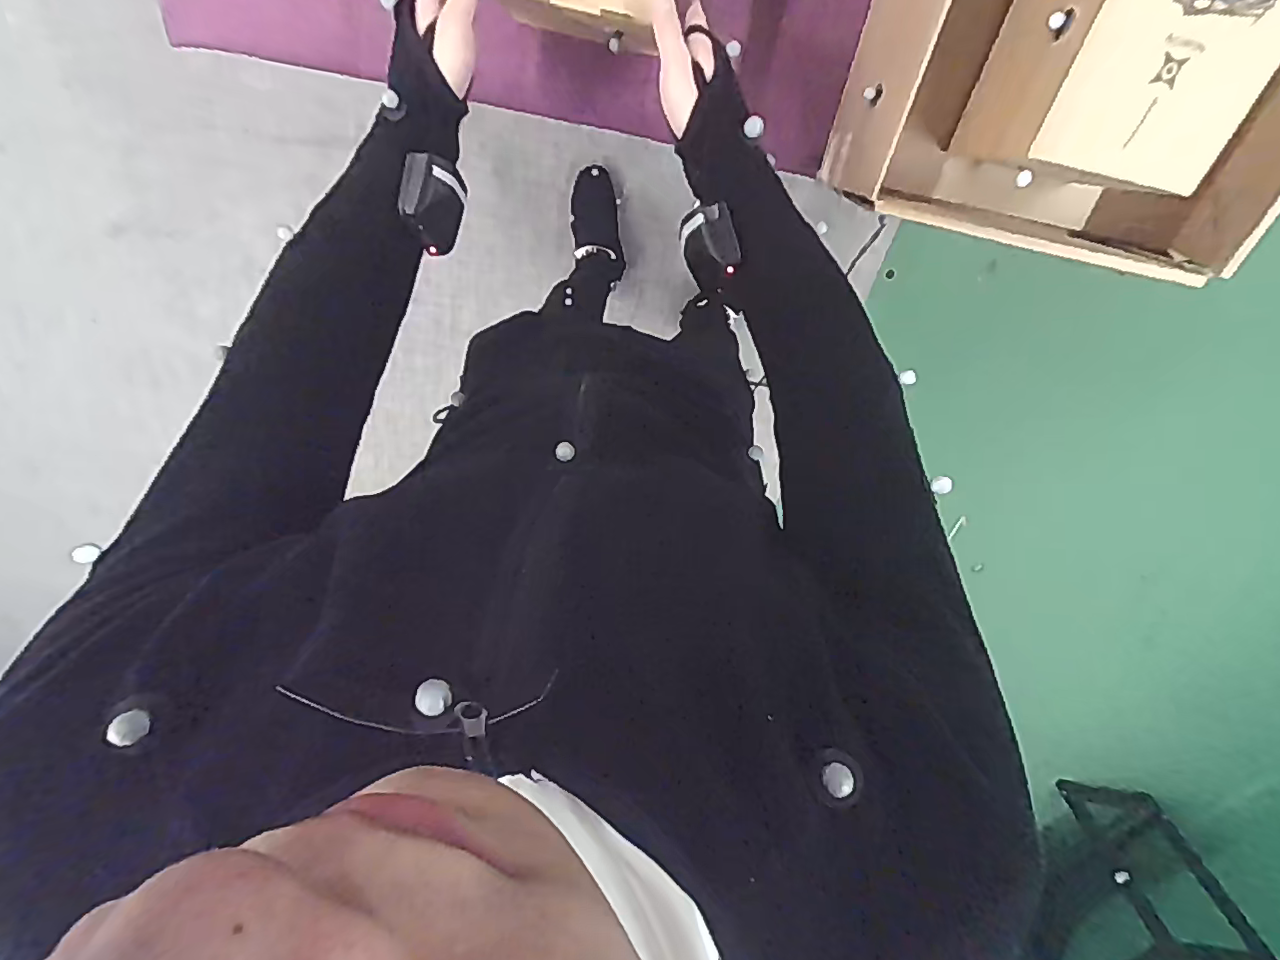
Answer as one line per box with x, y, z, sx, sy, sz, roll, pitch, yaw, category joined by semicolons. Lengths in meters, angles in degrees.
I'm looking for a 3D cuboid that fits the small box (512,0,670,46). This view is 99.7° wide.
-0.040;-0.522;0.483;0.168;0.176;0.179;9;121;-7;small box

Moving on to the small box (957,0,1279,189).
0.441;-0.393;0.508;0.168;0.176;0.179;10;122;-5;small box
